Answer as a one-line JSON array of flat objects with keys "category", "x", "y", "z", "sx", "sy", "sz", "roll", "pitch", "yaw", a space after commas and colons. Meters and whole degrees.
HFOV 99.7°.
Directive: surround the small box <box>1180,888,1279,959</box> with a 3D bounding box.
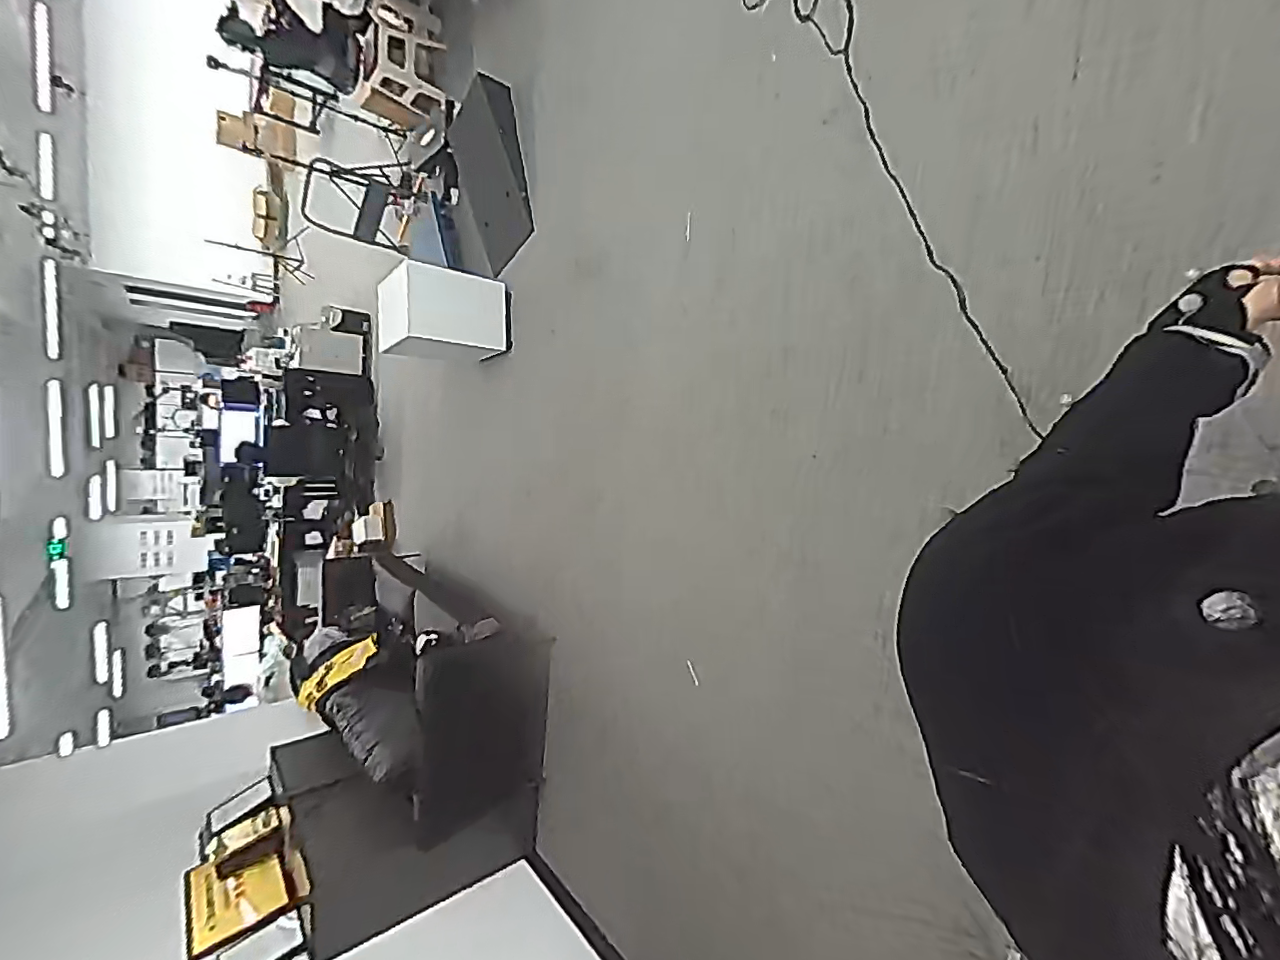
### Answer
[{"category": "small box", "x": 1.097, "y": 0.897, "z": 0.972, "sx": 0.168, "sy": 0.176, "sz": 0.179, "roll": 13, "pitch": 100, "yaw": 49}]
